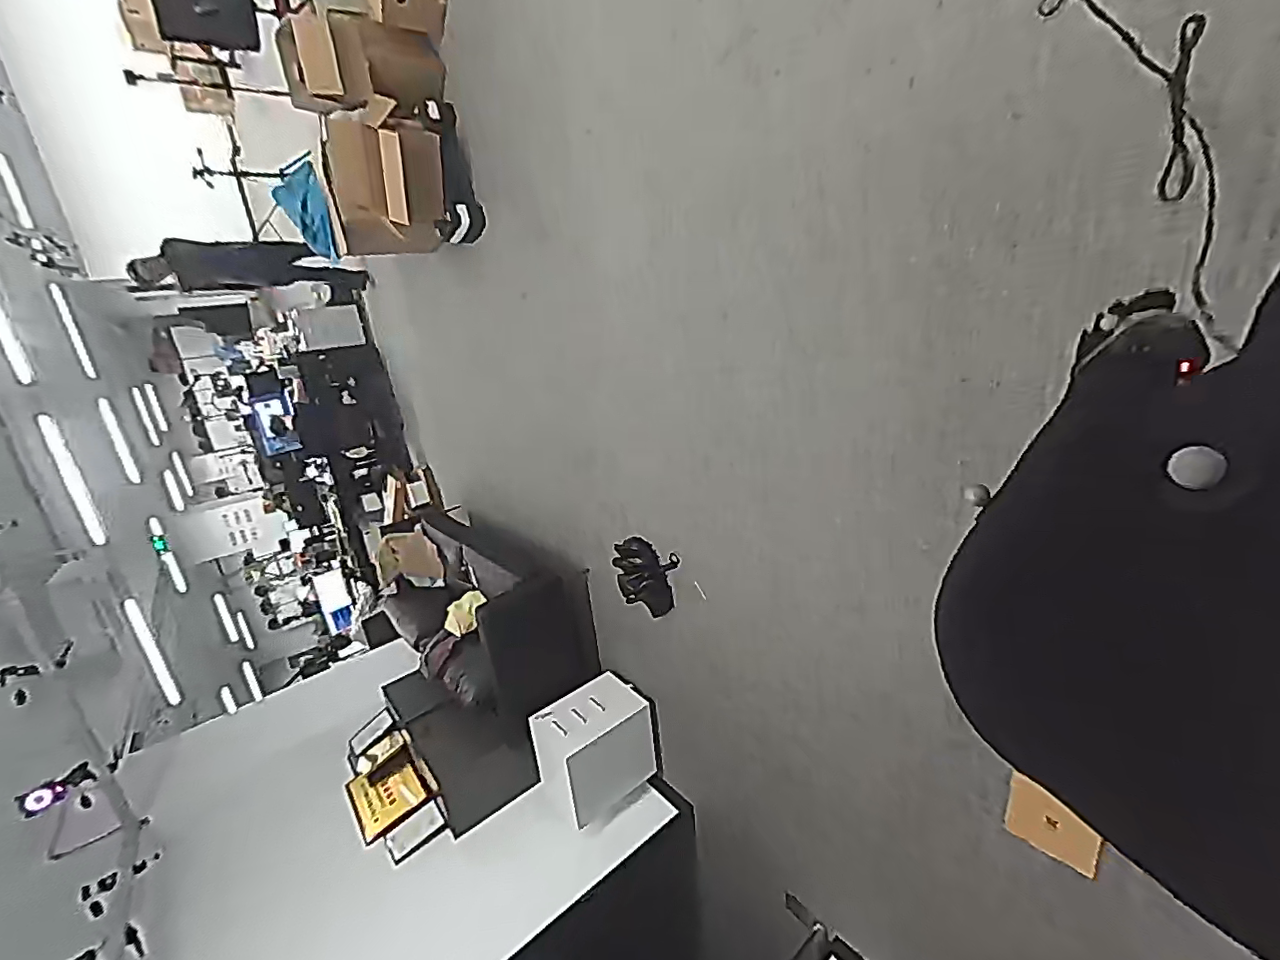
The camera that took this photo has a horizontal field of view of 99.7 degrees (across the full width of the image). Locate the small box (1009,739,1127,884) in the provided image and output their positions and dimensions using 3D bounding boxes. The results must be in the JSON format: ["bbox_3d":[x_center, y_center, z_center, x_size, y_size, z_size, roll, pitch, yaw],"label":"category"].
[{"bbox_3d":[0.951,0.725,1.203,0.168,0.176,0.179,14,115,49],"label":"small box"}]
